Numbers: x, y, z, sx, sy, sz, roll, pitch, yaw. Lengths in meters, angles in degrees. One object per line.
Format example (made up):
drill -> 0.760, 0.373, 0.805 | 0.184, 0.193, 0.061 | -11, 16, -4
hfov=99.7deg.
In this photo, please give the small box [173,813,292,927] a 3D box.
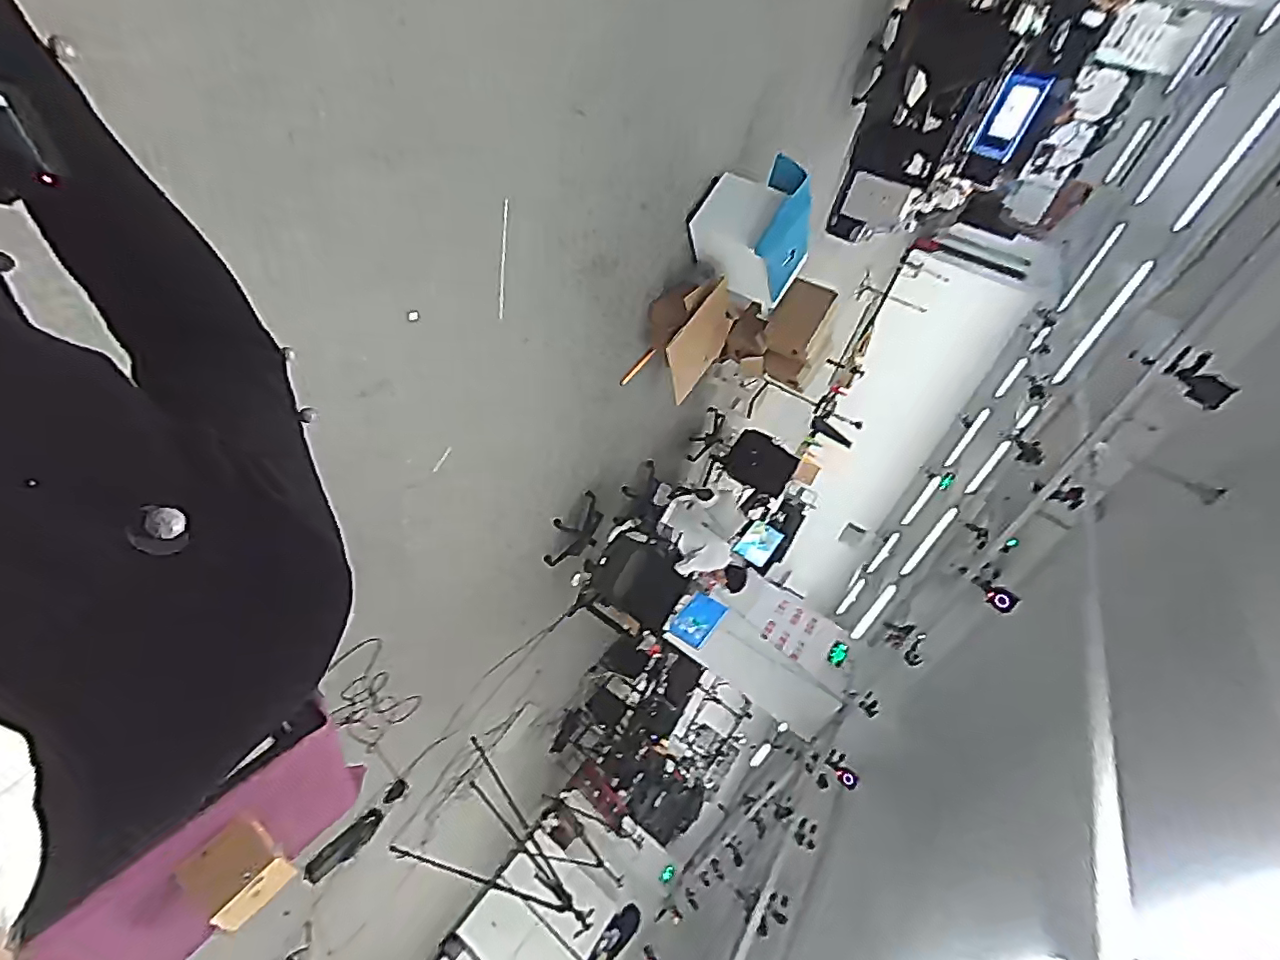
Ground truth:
small box -> -1.059, 1.013, 1.412 | 0.168, 0.176, 0.179 | -42, 156, -40
